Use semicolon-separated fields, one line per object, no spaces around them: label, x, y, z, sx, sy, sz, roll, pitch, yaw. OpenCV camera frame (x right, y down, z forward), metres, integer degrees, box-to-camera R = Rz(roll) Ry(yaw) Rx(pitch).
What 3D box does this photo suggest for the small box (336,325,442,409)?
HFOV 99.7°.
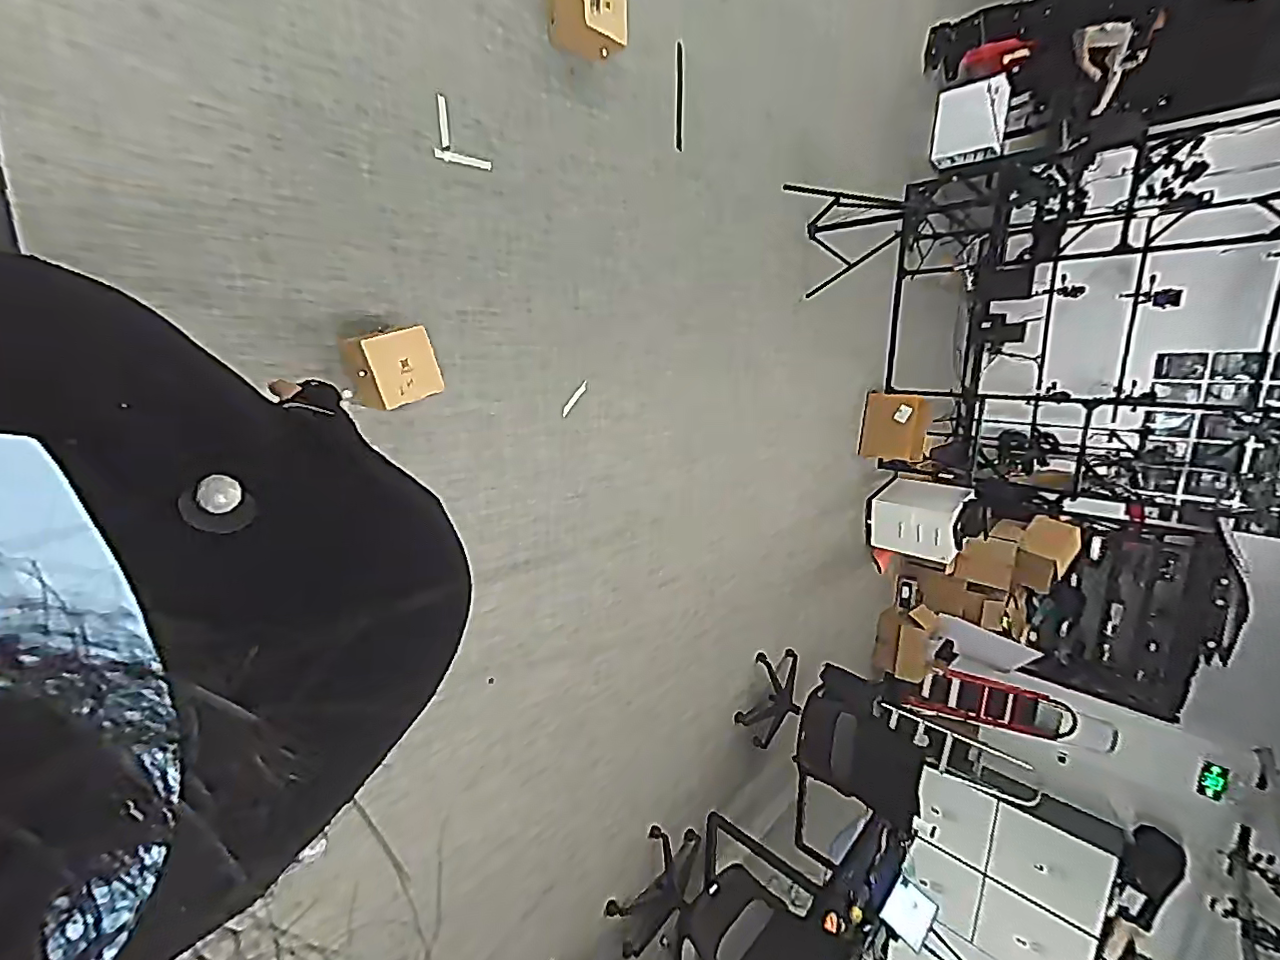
small box;-0.647;-0.292;1.391;0.168;0.176;0.179;-32;121;-39
